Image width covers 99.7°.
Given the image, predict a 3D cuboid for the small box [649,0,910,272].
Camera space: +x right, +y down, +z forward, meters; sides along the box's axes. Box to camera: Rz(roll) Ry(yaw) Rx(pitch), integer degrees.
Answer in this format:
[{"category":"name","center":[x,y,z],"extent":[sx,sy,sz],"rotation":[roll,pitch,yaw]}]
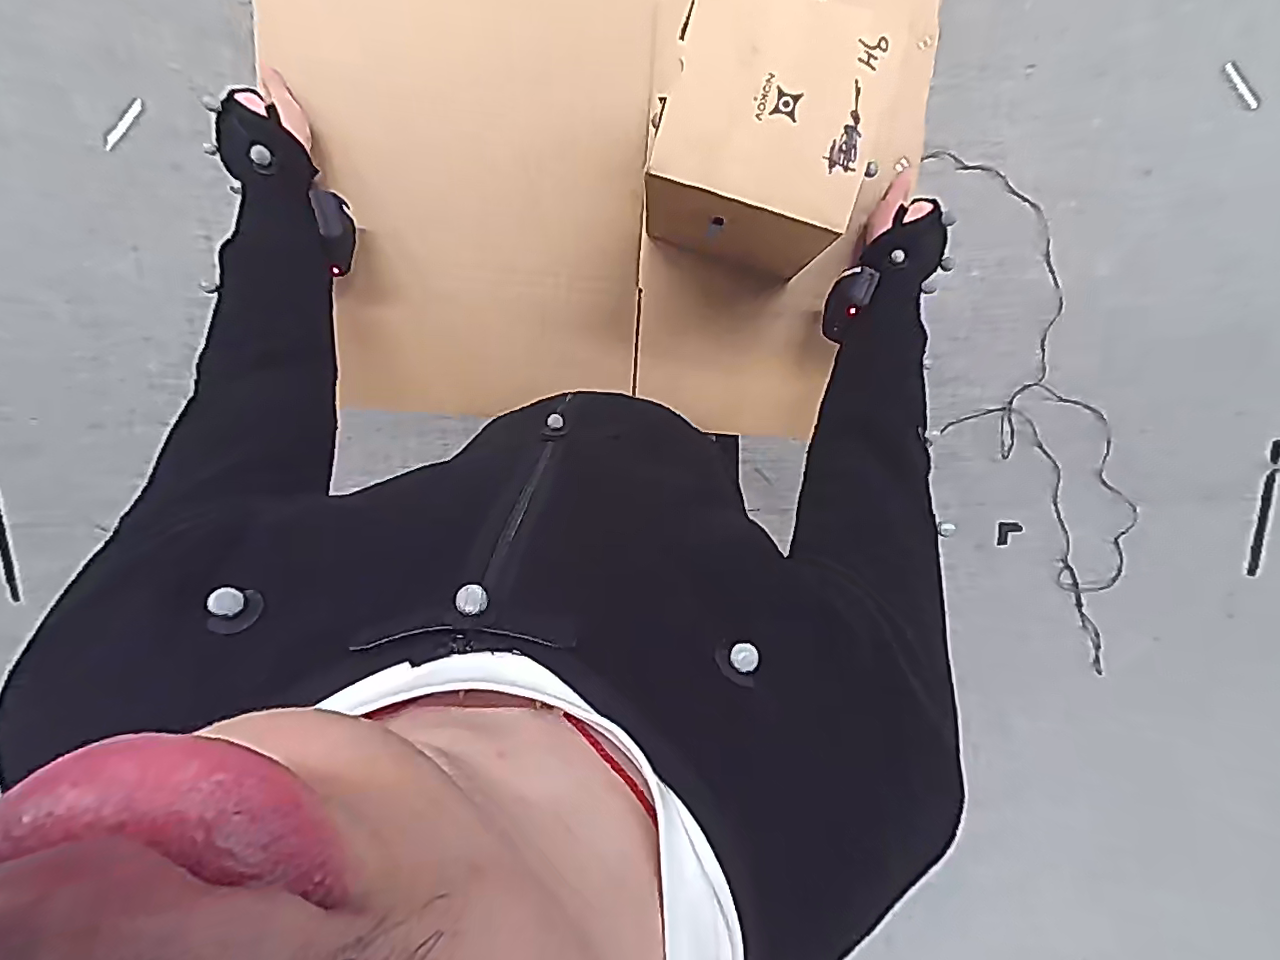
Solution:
[{"category":"small box","center":[0.115,-0.321,0.524],"extent":[0.179,0.176,0.168],"rotation":[17,98,0]}]
